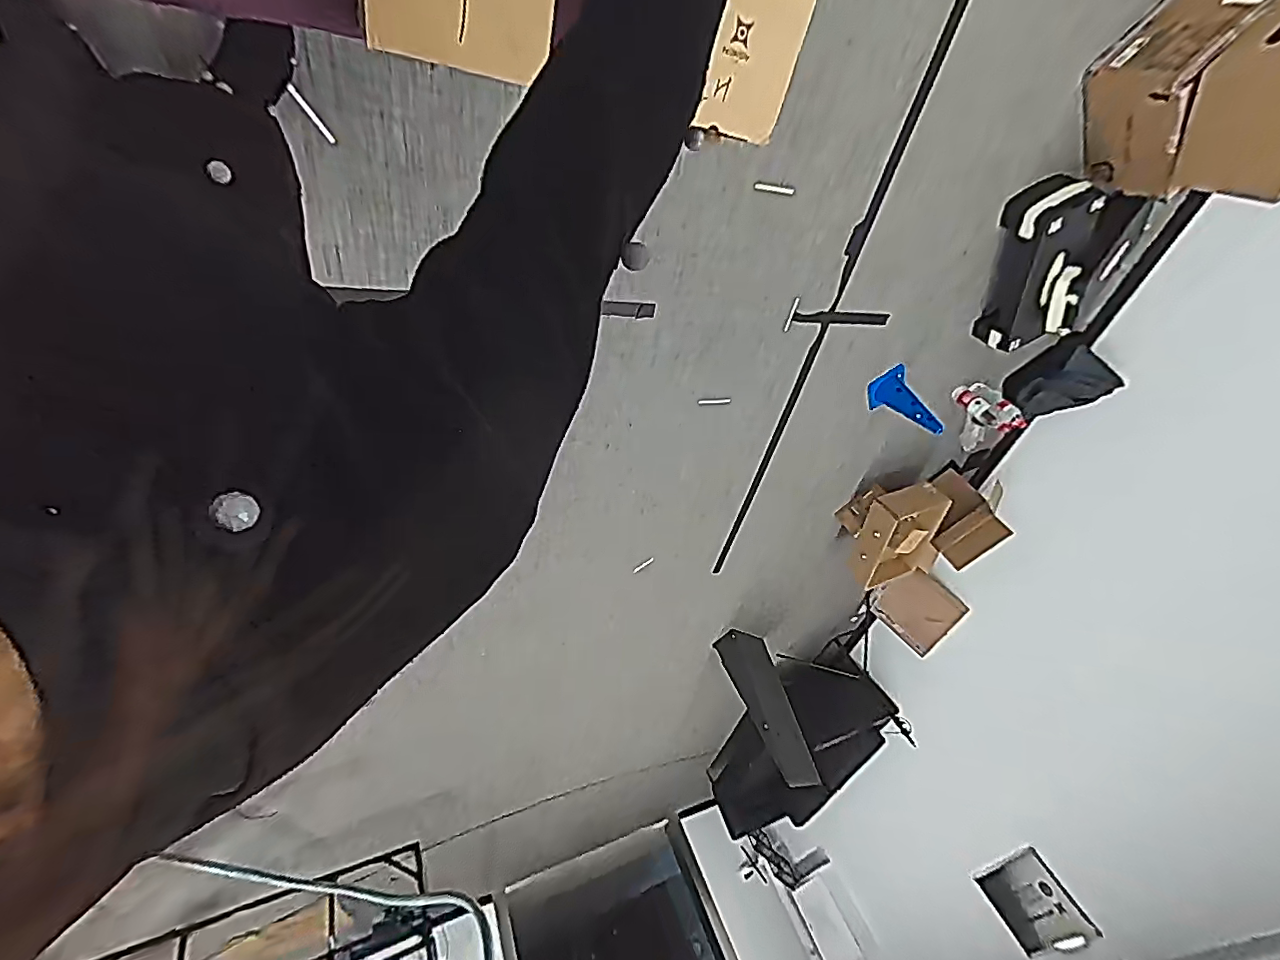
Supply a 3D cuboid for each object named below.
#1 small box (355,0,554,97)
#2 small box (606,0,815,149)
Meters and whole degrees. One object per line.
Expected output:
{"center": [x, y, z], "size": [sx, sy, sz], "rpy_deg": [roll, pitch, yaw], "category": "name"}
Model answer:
{"center": [-0.183, -0.503, 0.519], "size": [0.168, 0.176, 0.179], "rpy_deg": [-5, 133, -26], "category": "small box"}
{"center": [0.073, -0.526, 0.643], "size": [0.168, 0.176, 0.179], "rpy_deg": [-4, 131, -26], "category": "small box"}
